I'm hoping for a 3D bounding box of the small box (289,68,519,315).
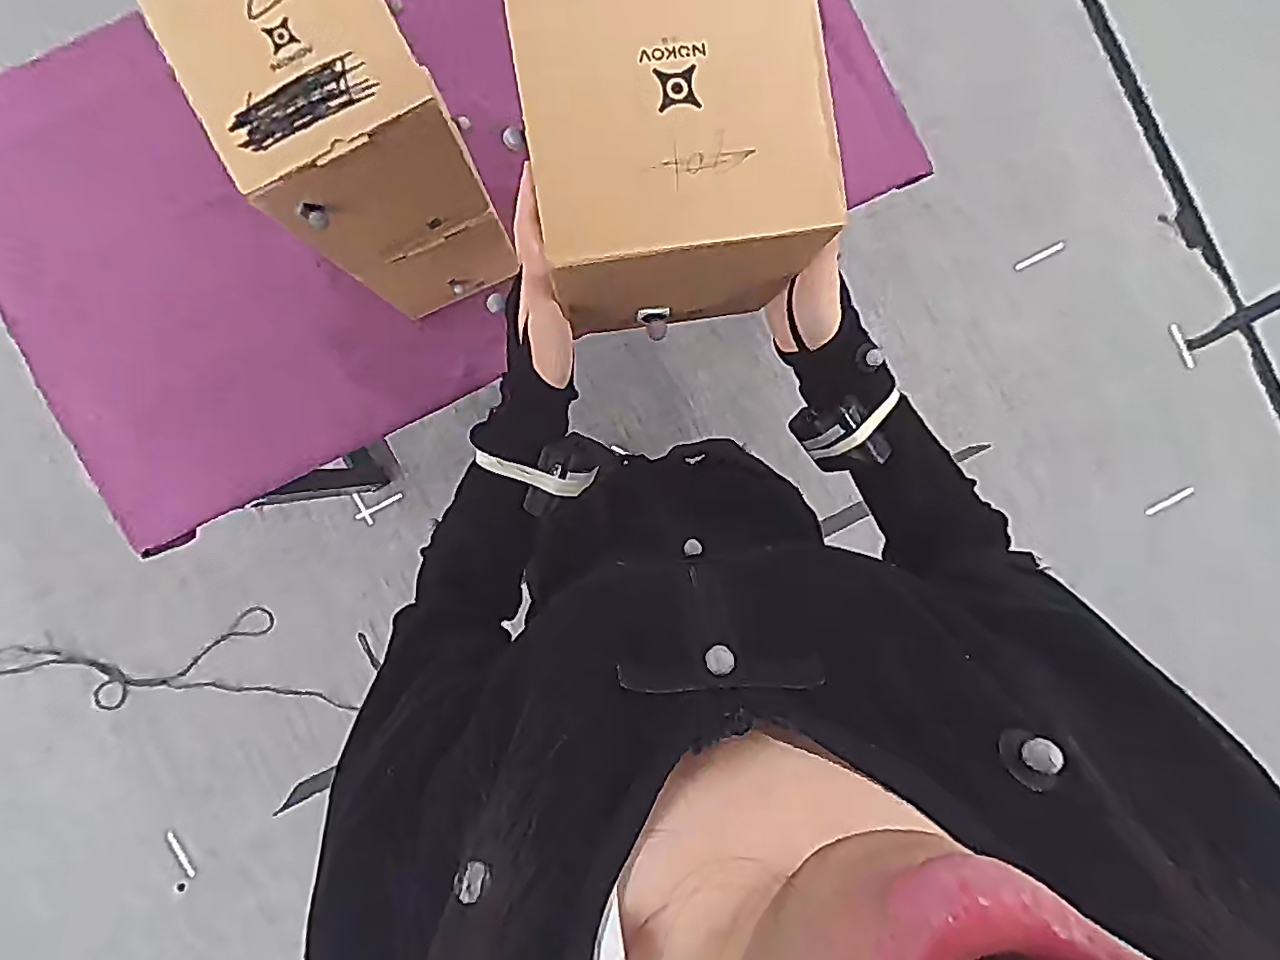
[{"bbox_3d":[-0.267,-0.330,0.654,0.168,0.176,0.179,-25,92,-1],"label":"small box"}]

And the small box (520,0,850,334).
[{"bbox_3d":[0.017,-0.214,0.369,0.168,0.176,0.179,-9,93,-3],"label":"small box"}]
